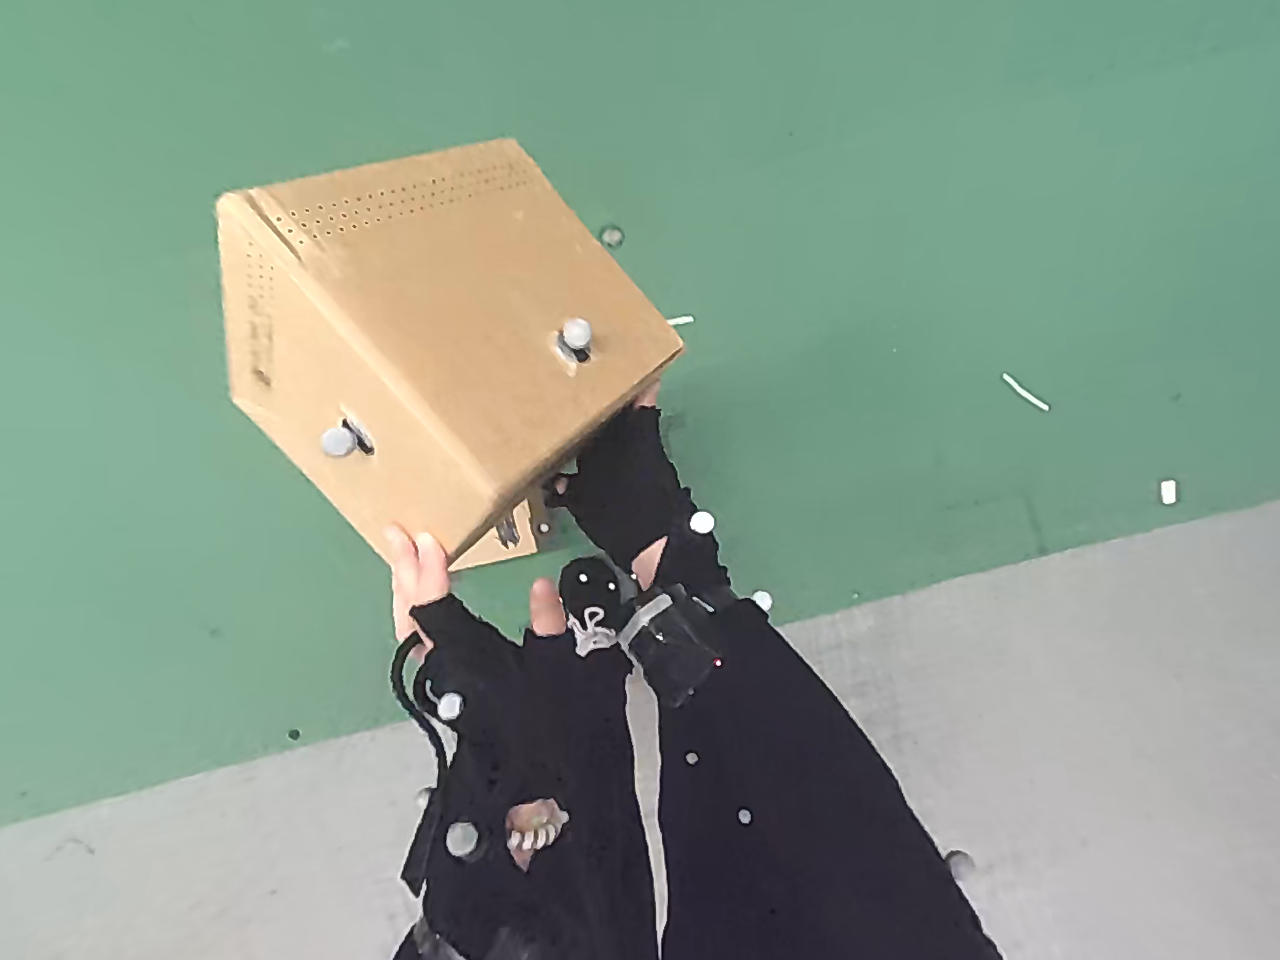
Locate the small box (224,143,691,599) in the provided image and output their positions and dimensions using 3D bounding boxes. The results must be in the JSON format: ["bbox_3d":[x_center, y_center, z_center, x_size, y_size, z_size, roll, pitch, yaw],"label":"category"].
[{"bbox_3d":[-0.108,-0.062,0.326,0.176,0.179,0.168,49,138,-8],"label":"small box"}]
